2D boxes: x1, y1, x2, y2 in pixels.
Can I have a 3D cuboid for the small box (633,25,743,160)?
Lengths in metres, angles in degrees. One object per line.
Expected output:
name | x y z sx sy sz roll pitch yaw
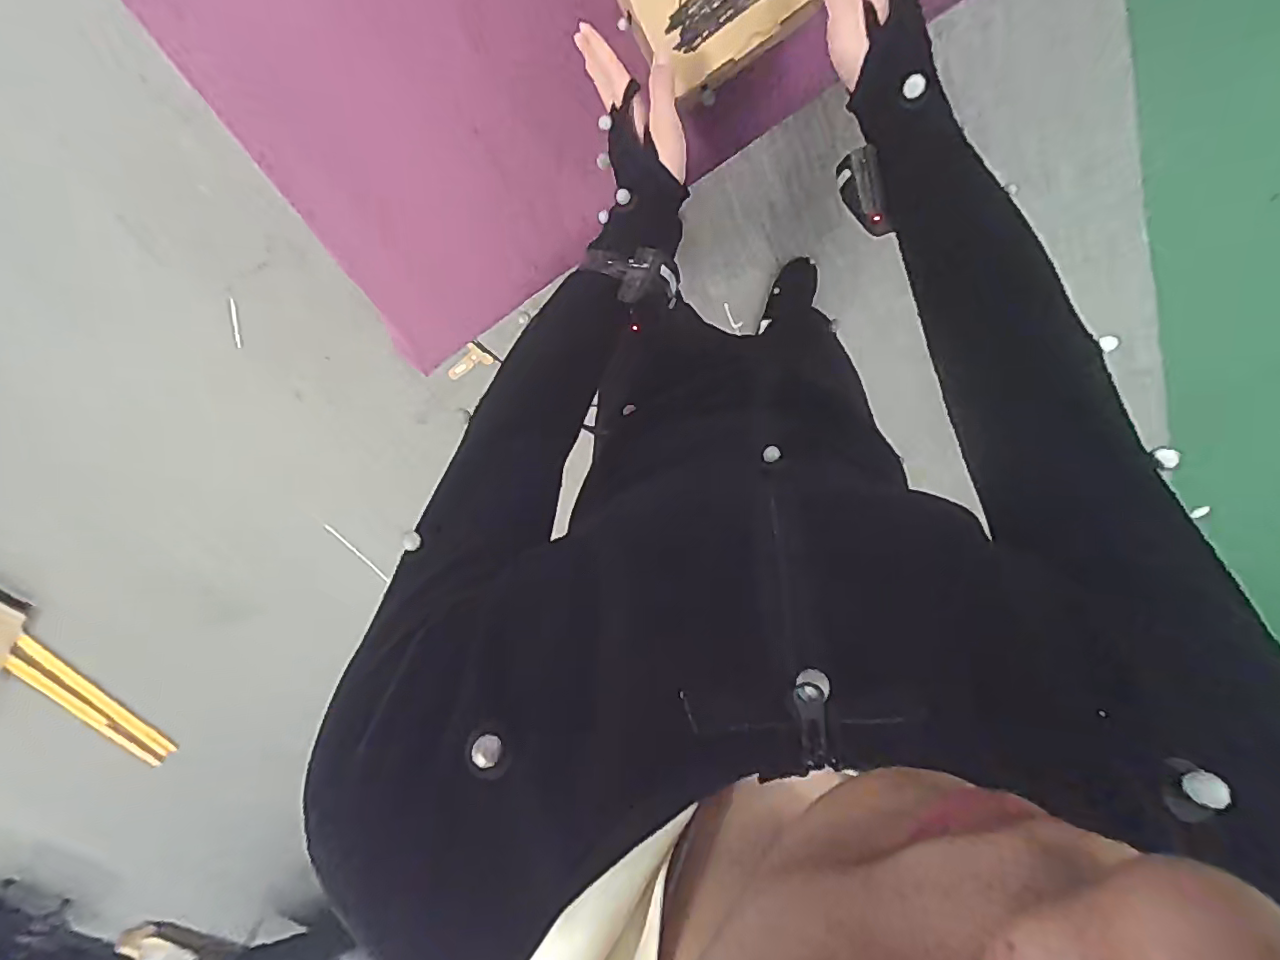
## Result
small box | 0.099 -0.821 1.162 0.179 0.176 0.168 -26 115 17

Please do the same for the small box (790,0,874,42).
small box | 0.383 -0.996 1.046 0.179 0.176 0.168 -24 117 16
